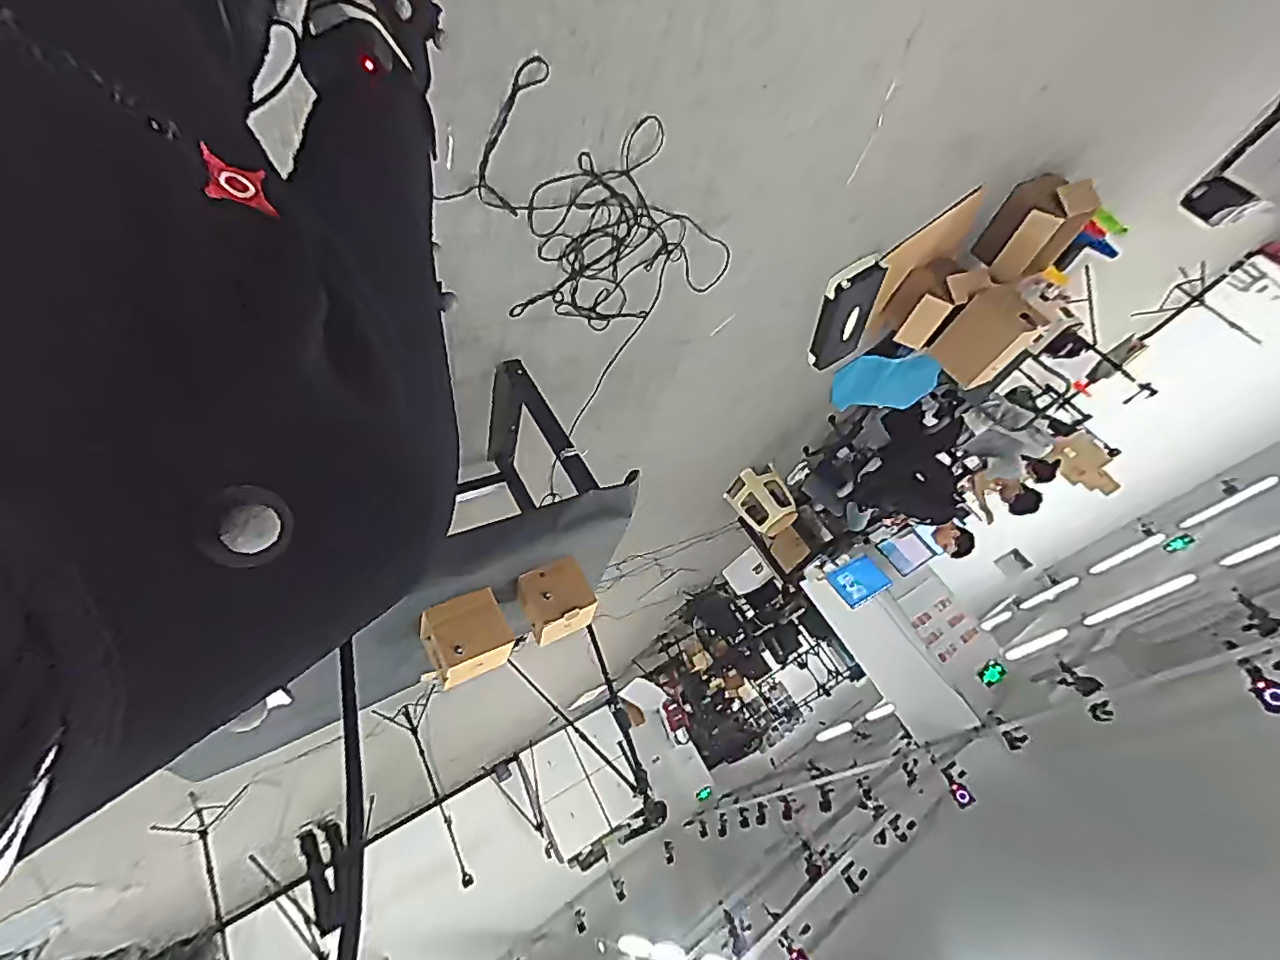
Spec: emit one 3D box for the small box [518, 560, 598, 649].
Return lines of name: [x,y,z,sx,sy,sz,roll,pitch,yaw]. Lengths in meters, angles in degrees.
small box: [-0.240,0.349,1.549,0.168,0.176,0.179,-20,154,-26]

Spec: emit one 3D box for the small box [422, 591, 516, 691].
small box: [-0.450,0.415,1.411,0.179,0.176,0.168,-16,151,-34]
